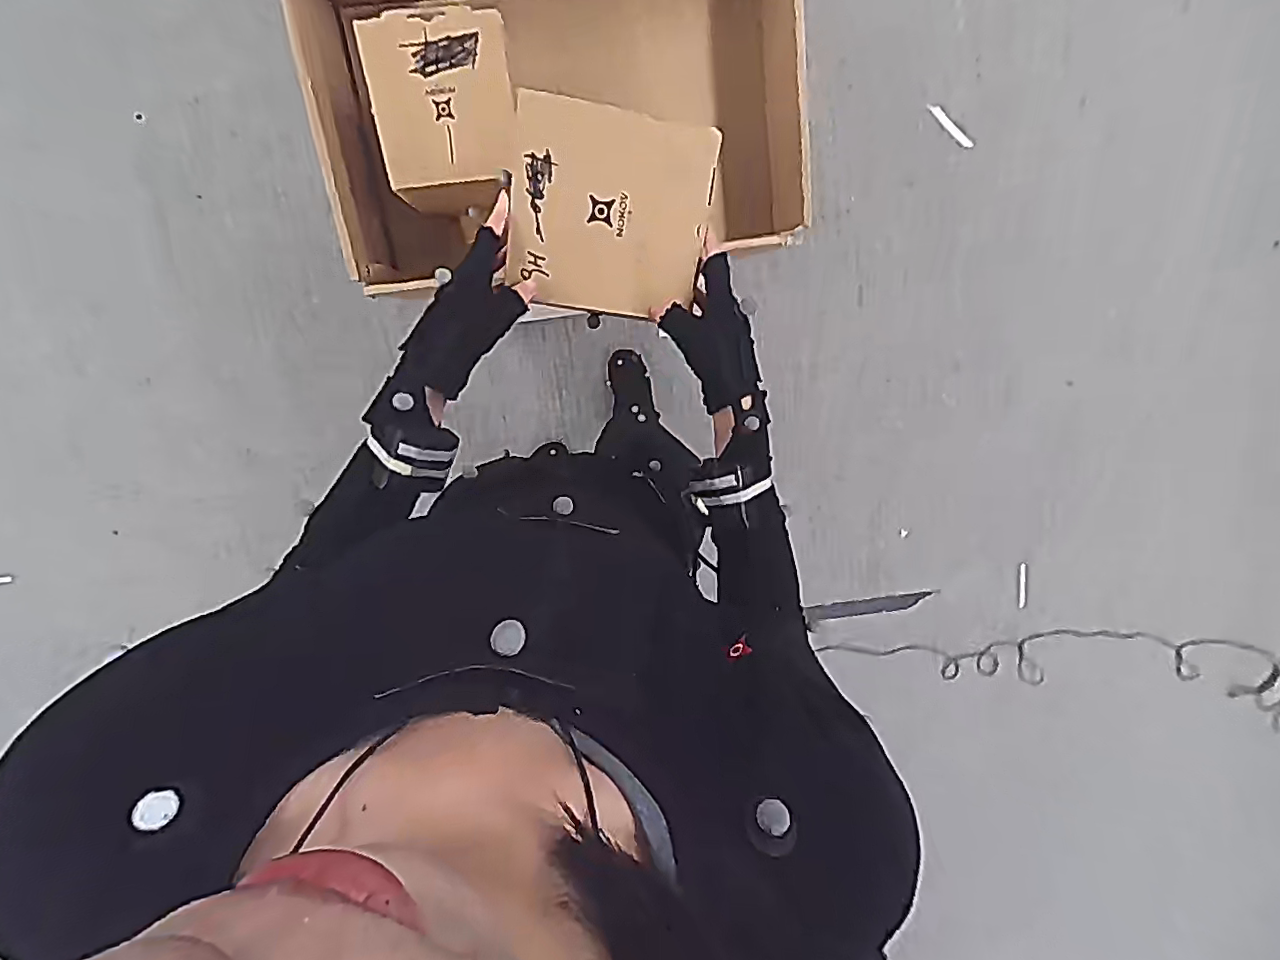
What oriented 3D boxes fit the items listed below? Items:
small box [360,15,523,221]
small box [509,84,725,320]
[{"bbox_3d":[-0.237,-0.461,0.715,0.168,0.176,0.179,-8,106,-3],"label":"small box"},{"bbox_3d":[-0.032,-0.261,0.553,0.179,0.176,0.168,6,105,-9],"label":"small box"}]
